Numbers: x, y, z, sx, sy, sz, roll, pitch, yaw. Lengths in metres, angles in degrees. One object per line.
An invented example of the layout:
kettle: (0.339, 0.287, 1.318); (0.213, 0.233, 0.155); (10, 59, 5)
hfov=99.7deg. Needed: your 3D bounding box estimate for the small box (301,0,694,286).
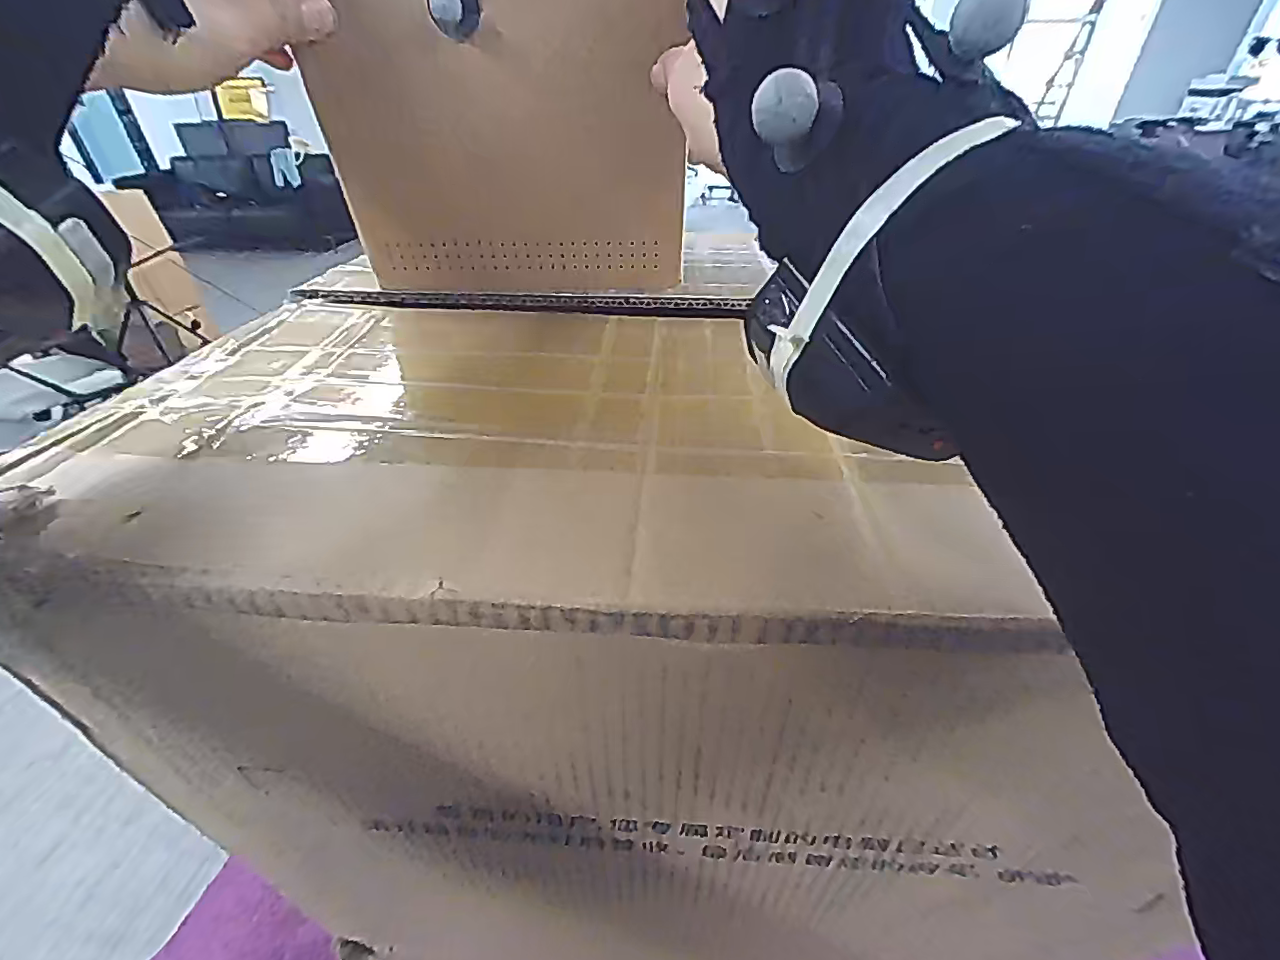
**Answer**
small box: (-0.062, -0.223, 0.307); (0.179, 0.176, 0.168); (1, 45, 1)
